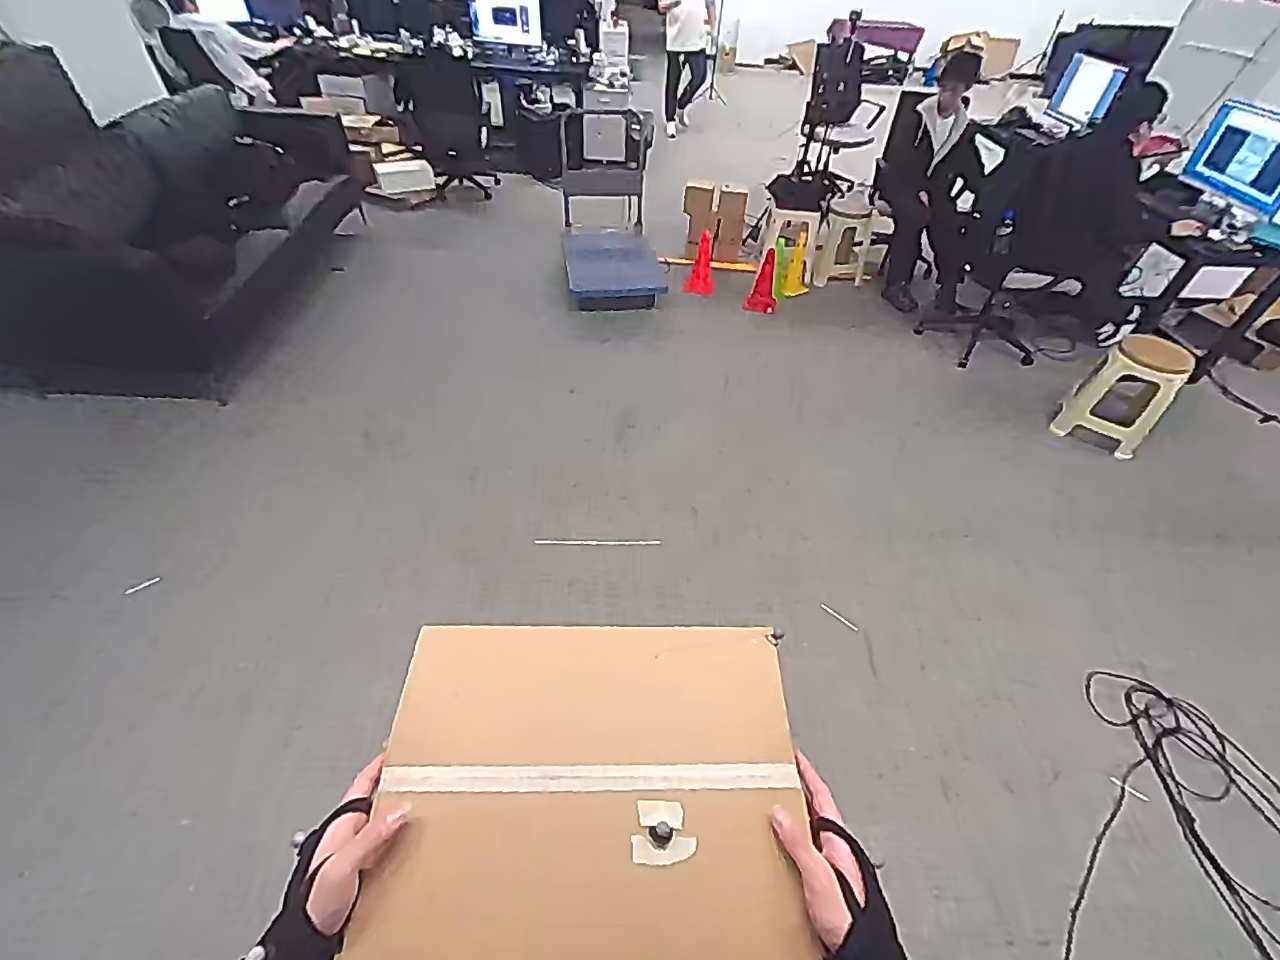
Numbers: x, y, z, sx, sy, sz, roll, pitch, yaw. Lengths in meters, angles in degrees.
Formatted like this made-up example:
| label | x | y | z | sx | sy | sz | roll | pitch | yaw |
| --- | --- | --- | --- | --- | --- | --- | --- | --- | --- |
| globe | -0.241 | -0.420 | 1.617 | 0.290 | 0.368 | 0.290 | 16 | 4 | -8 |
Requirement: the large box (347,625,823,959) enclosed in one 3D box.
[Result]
| label | x | y | z | sx | sy | sz | roll | pitch | yaw |
| --- | --- | --- | --- | --- | --- | --- | --- | --- | --- |
| large box | -0.053 | 0.386 | 0.652 | 0.408 | 0.320 | 0.320 | 1 | 50 | -2 |
